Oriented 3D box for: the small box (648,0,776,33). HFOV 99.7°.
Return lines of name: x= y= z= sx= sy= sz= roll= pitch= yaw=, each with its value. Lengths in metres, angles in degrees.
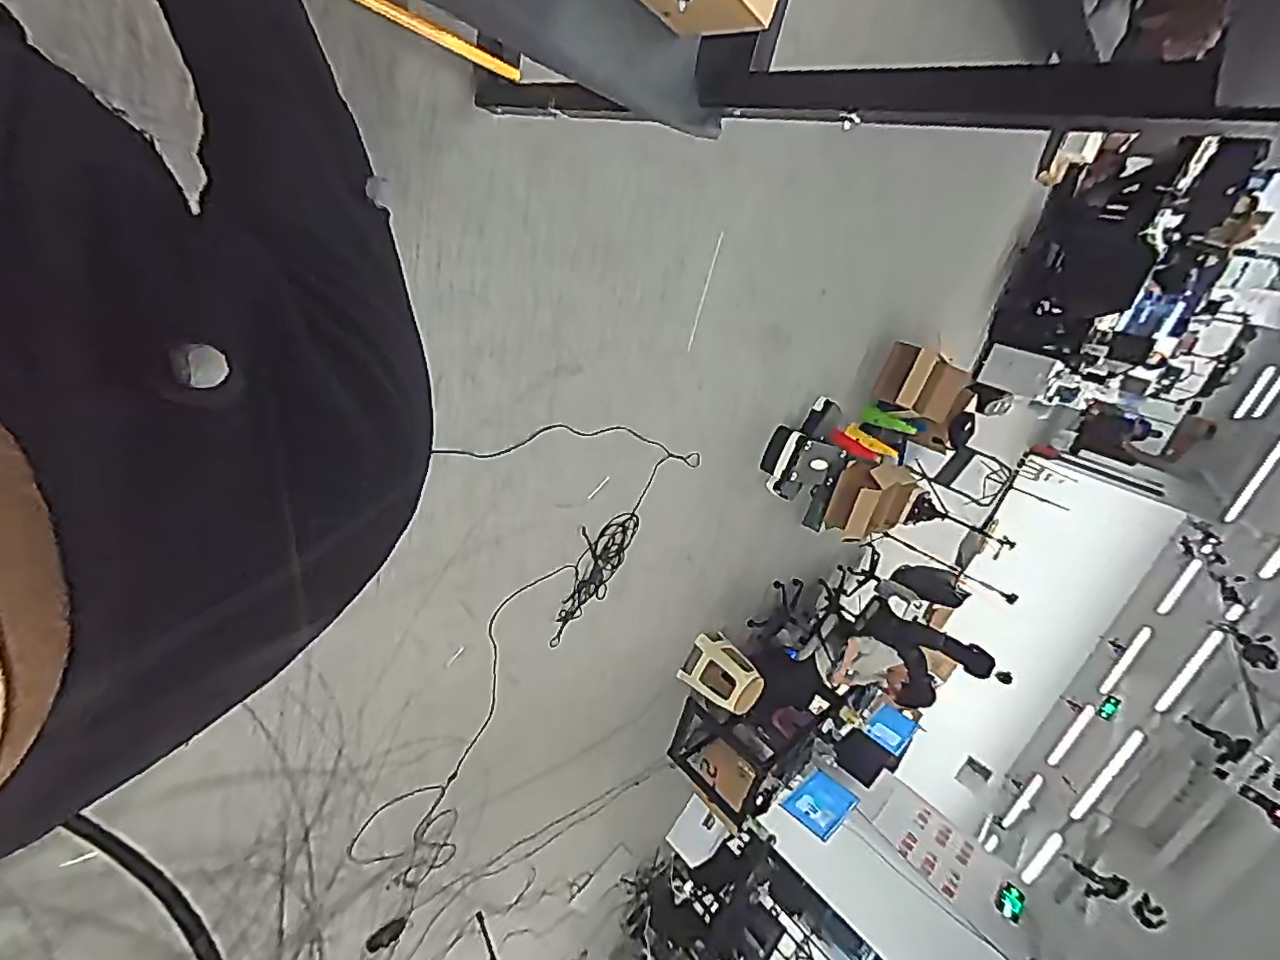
small box: x=0.088 y=-0.727 z=0.706 sx=0.168 sy=0.176 sz=0.179 roll=-3 pitch=117 yaw=-48
